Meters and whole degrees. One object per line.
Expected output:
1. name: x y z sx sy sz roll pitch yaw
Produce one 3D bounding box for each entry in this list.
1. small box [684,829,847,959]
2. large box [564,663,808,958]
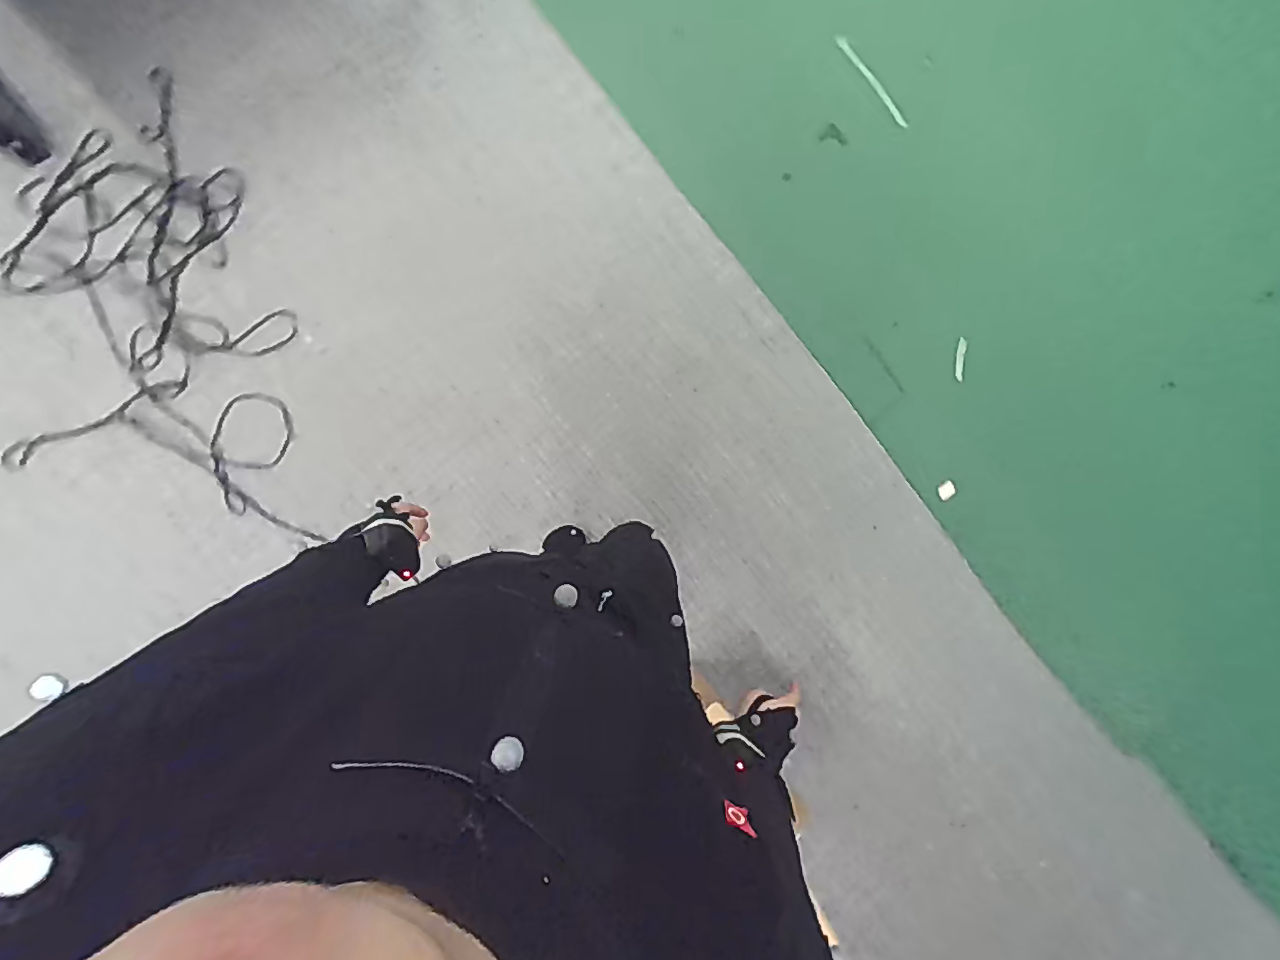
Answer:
1. small box: 0.186 0.679 0.814 0.179 0.176 0.168 -28 90 -6
2. large box: 0.083 0.693 1.212 0.408 0.320 0.320 -40 90 -6
